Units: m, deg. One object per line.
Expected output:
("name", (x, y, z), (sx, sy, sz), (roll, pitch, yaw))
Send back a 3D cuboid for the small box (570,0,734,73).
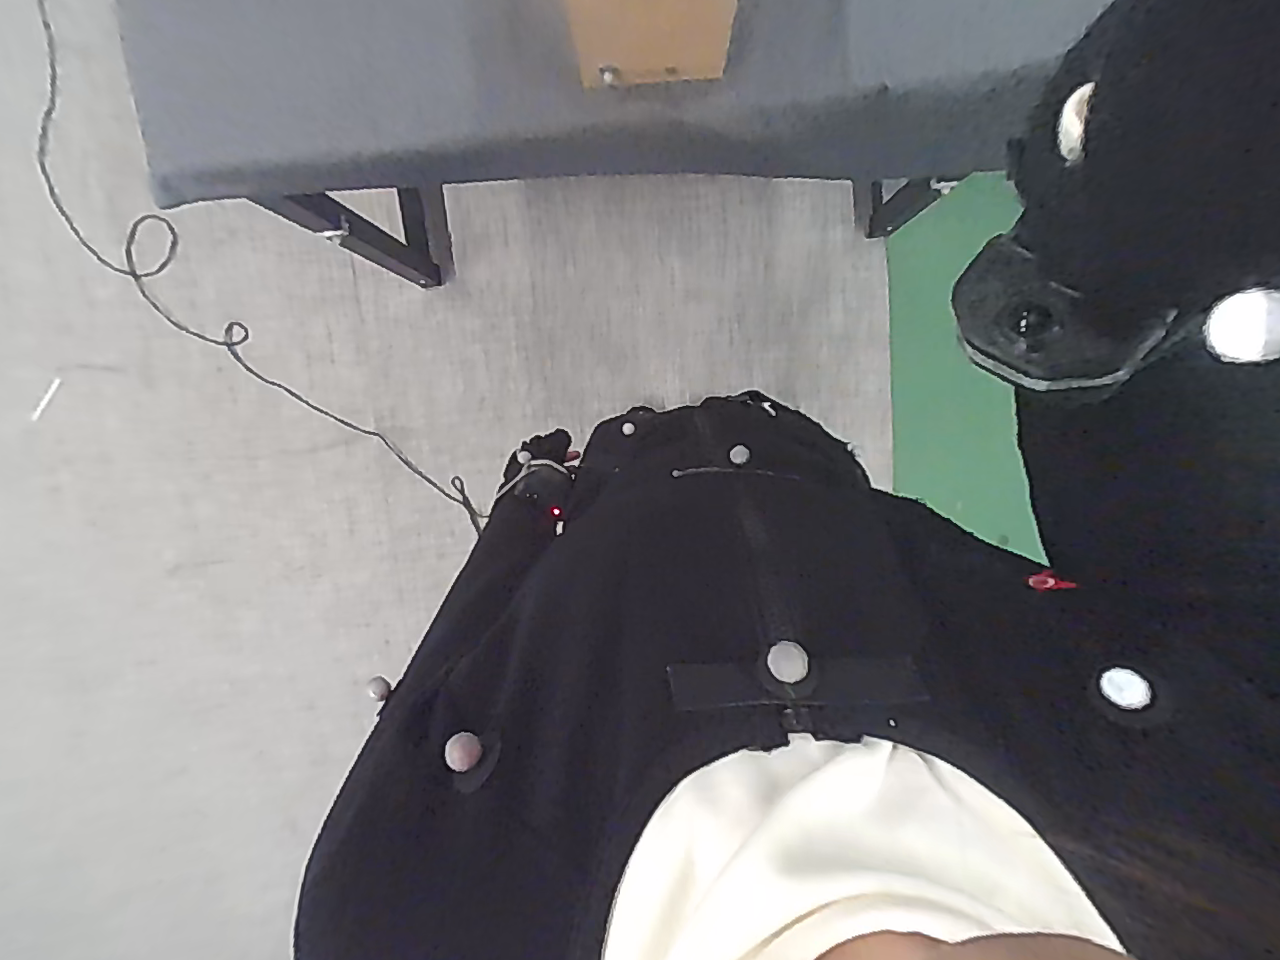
("small box", (0.012, -0.549, 0.548), (0.168, 0.176, 0.179), (-2, 96, 1))
